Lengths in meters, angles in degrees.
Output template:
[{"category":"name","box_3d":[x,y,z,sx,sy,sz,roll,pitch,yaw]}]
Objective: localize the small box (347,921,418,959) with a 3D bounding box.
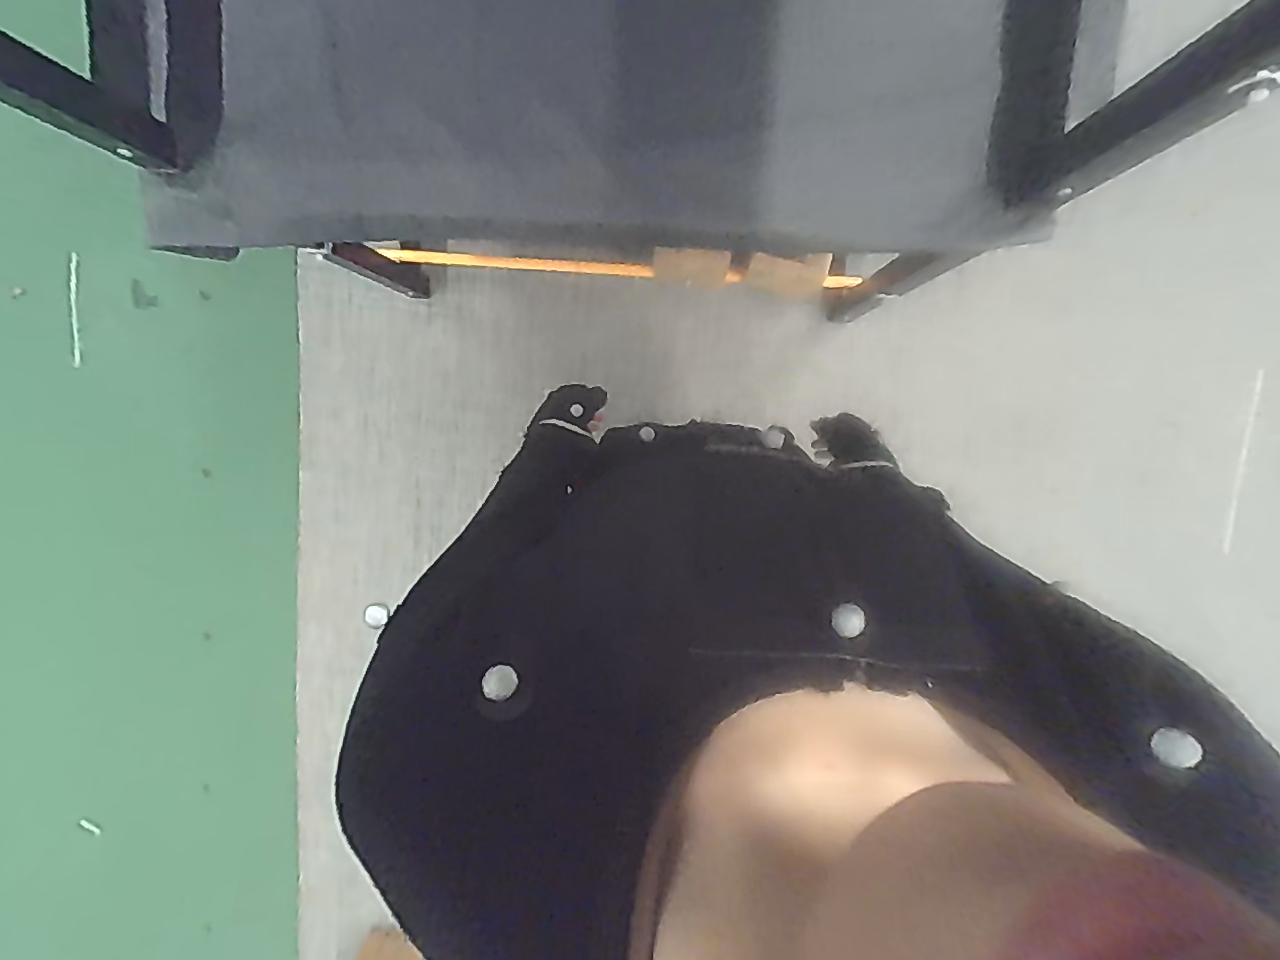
[{"category":"small box","box_3d":[-0.791,1.494,1.642,0.168,0.176,0.179,4,97,4]}]
